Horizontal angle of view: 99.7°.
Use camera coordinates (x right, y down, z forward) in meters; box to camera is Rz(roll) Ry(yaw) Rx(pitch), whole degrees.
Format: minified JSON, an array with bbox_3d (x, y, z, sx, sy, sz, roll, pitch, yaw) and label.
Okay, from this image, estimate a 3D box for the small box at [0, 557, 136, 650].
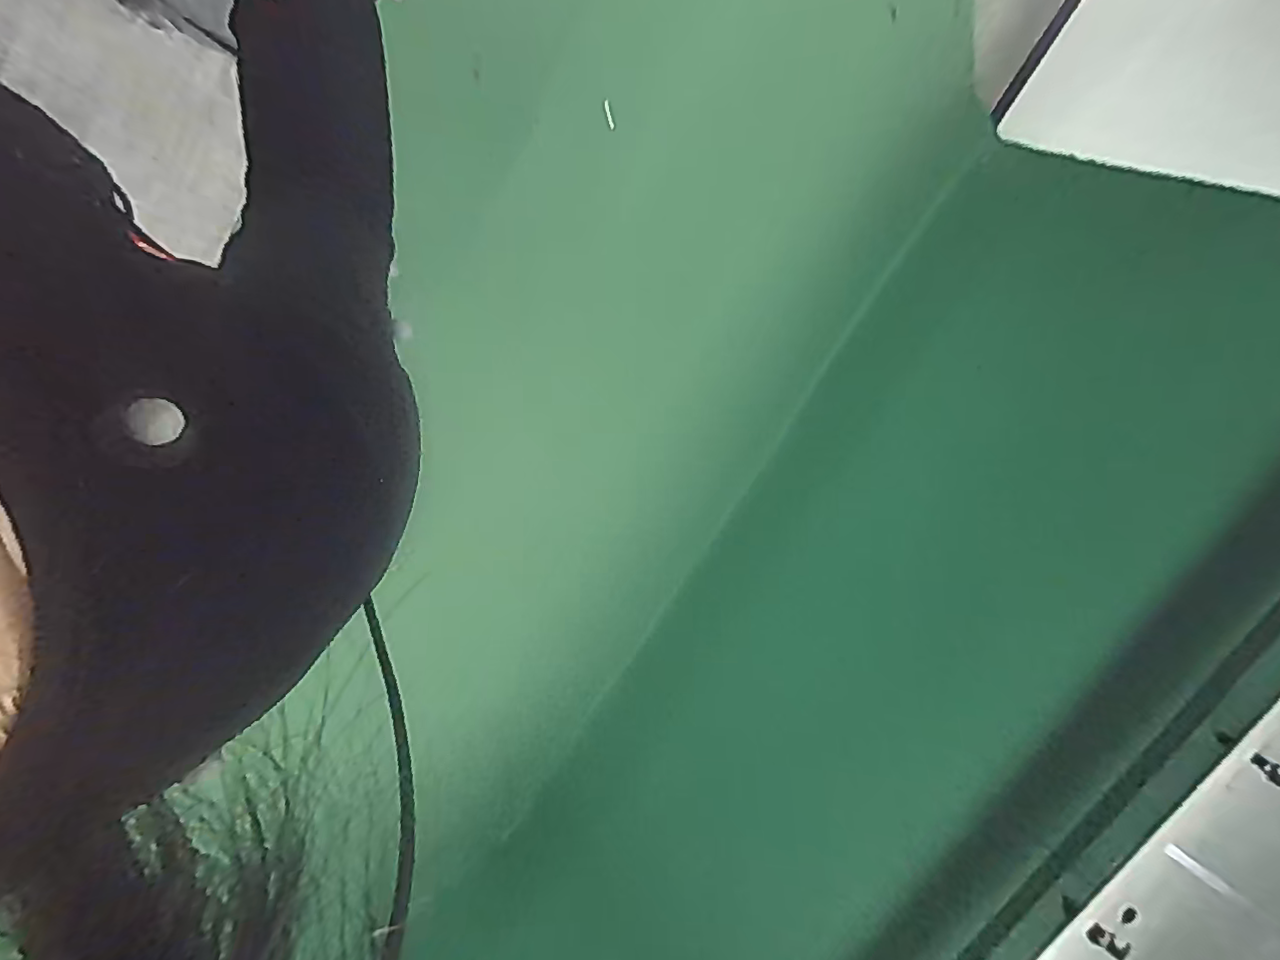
[{"bbox_3d":[-1.299,0.294,1.217,0.168,0.176,0.179,-53,147,1],"label":"small box"}]
